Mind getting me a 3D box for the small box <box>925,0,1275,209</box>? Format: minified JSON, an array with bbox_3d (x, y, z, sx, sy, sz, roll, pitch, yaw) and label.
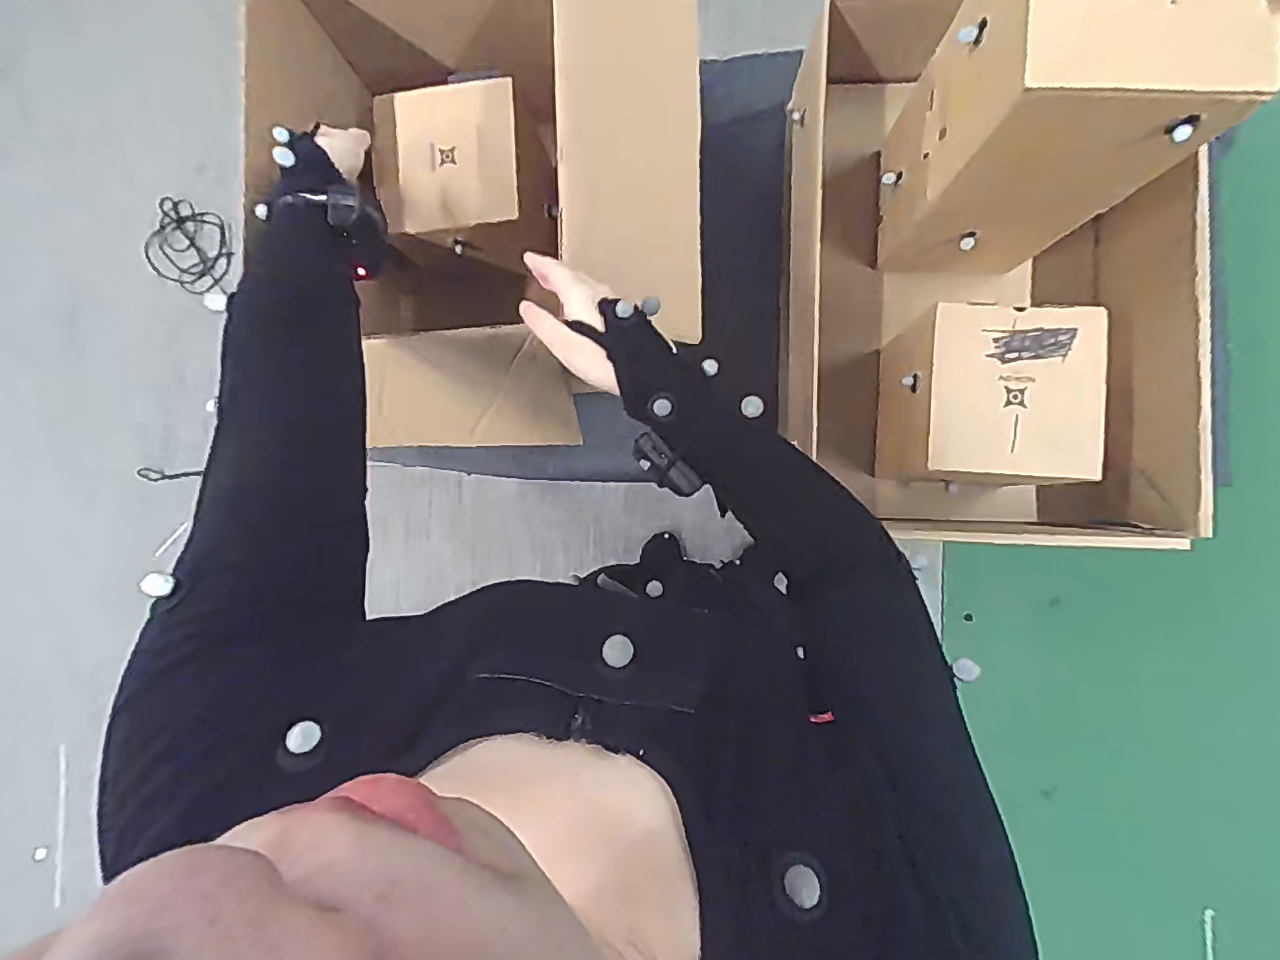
[{"bbox_3d":[0.376,-0.359,0.474,0.179,0.176,0.168,4,90,4],"label":"small box"}]
